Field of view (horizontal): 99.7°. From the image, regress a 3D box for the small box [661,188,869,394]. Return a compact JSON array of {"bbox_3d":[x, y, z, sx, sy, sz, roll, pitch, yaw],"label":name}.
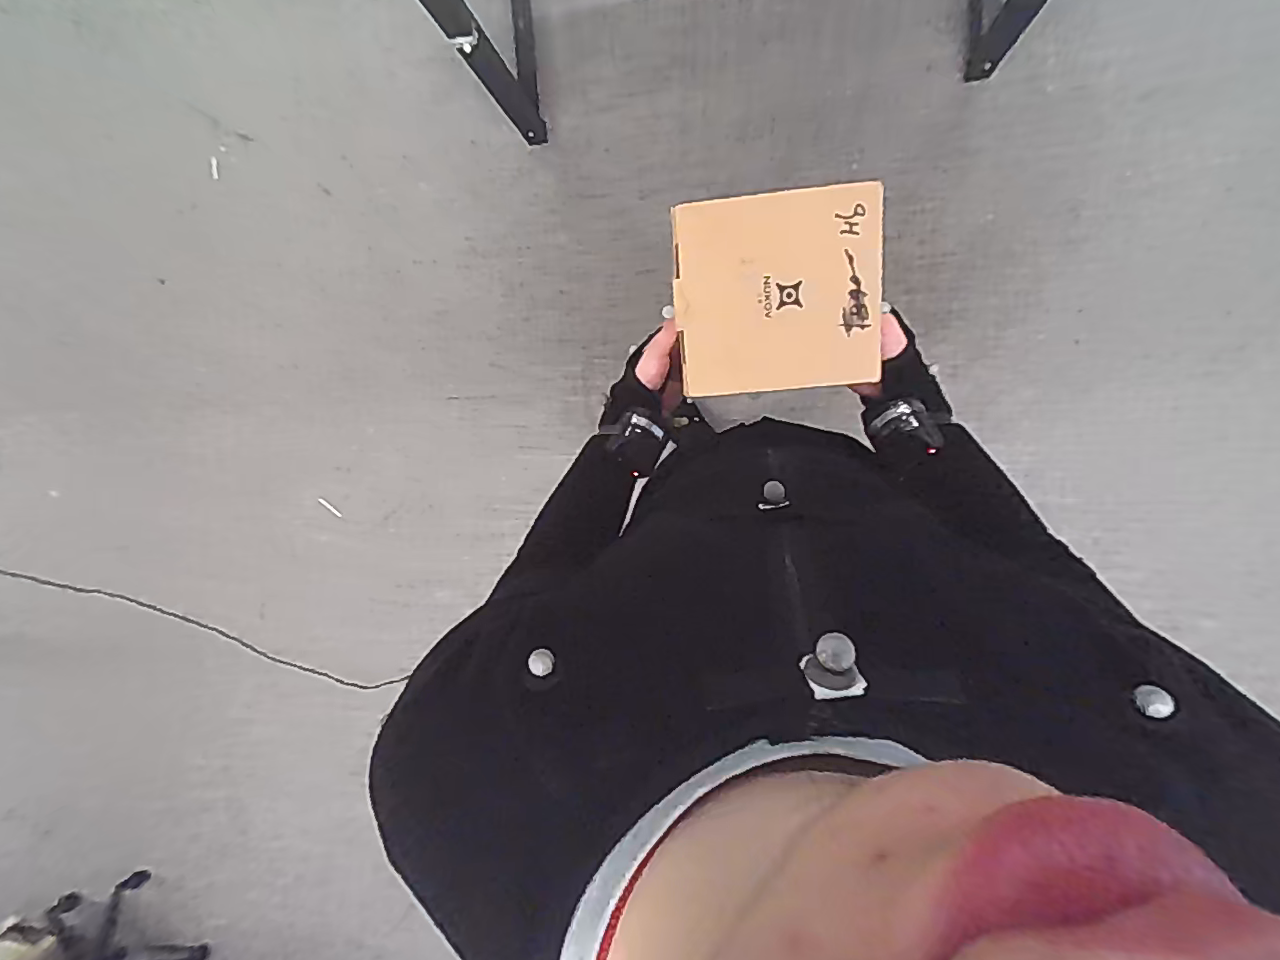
[{"bbox_3d":[0.117,-0.180,0.554,0.179,0.176,0.168,-3,104,5],"label":"small box"}]
